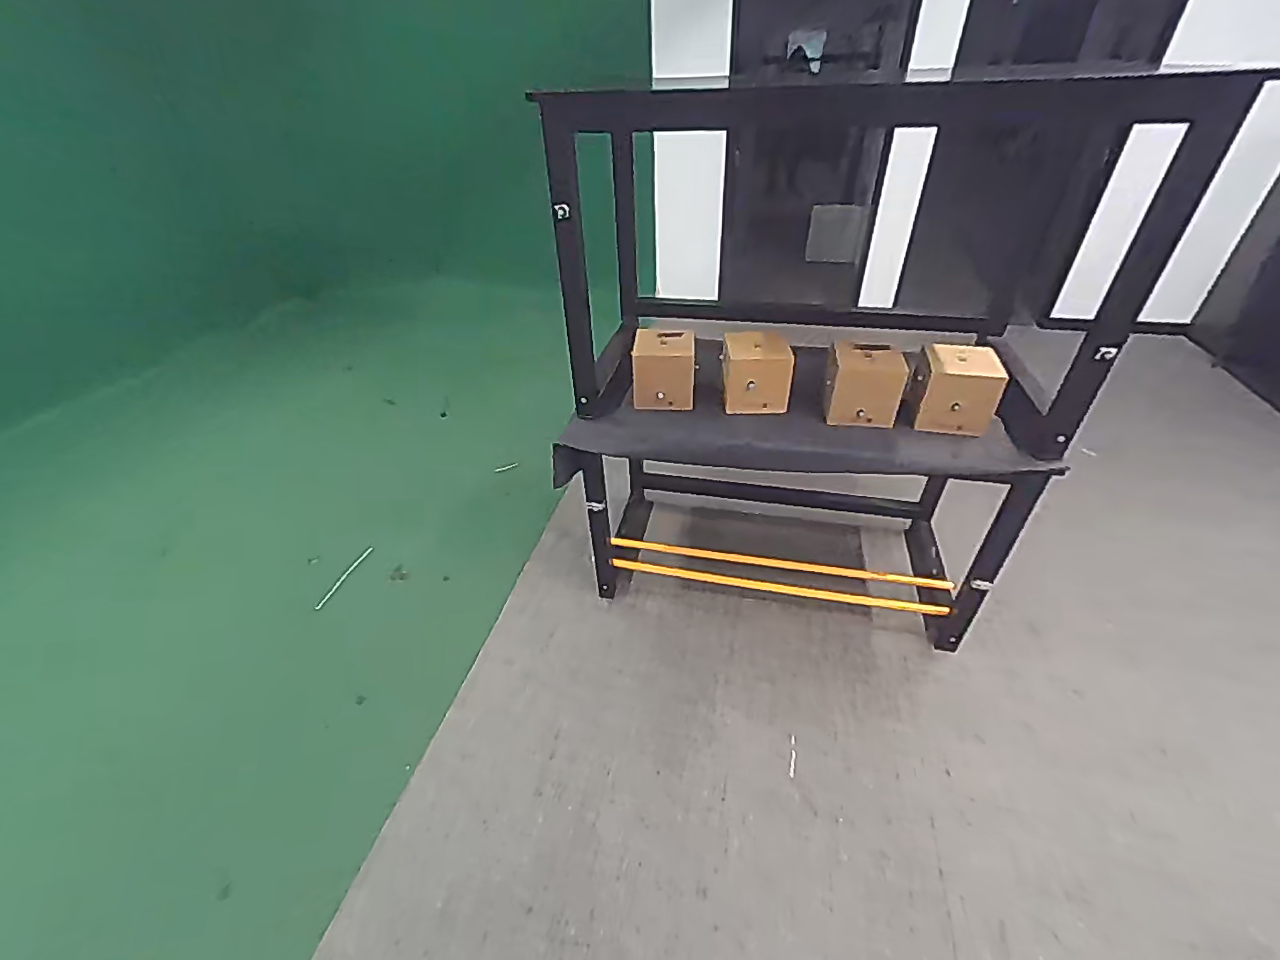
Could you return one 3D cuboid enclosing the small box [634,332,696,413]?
[{"bbox_3d":[0.072,-0.307,1.532,0.168,0.176,0.179,1,38,5],"label":"small box"}]
